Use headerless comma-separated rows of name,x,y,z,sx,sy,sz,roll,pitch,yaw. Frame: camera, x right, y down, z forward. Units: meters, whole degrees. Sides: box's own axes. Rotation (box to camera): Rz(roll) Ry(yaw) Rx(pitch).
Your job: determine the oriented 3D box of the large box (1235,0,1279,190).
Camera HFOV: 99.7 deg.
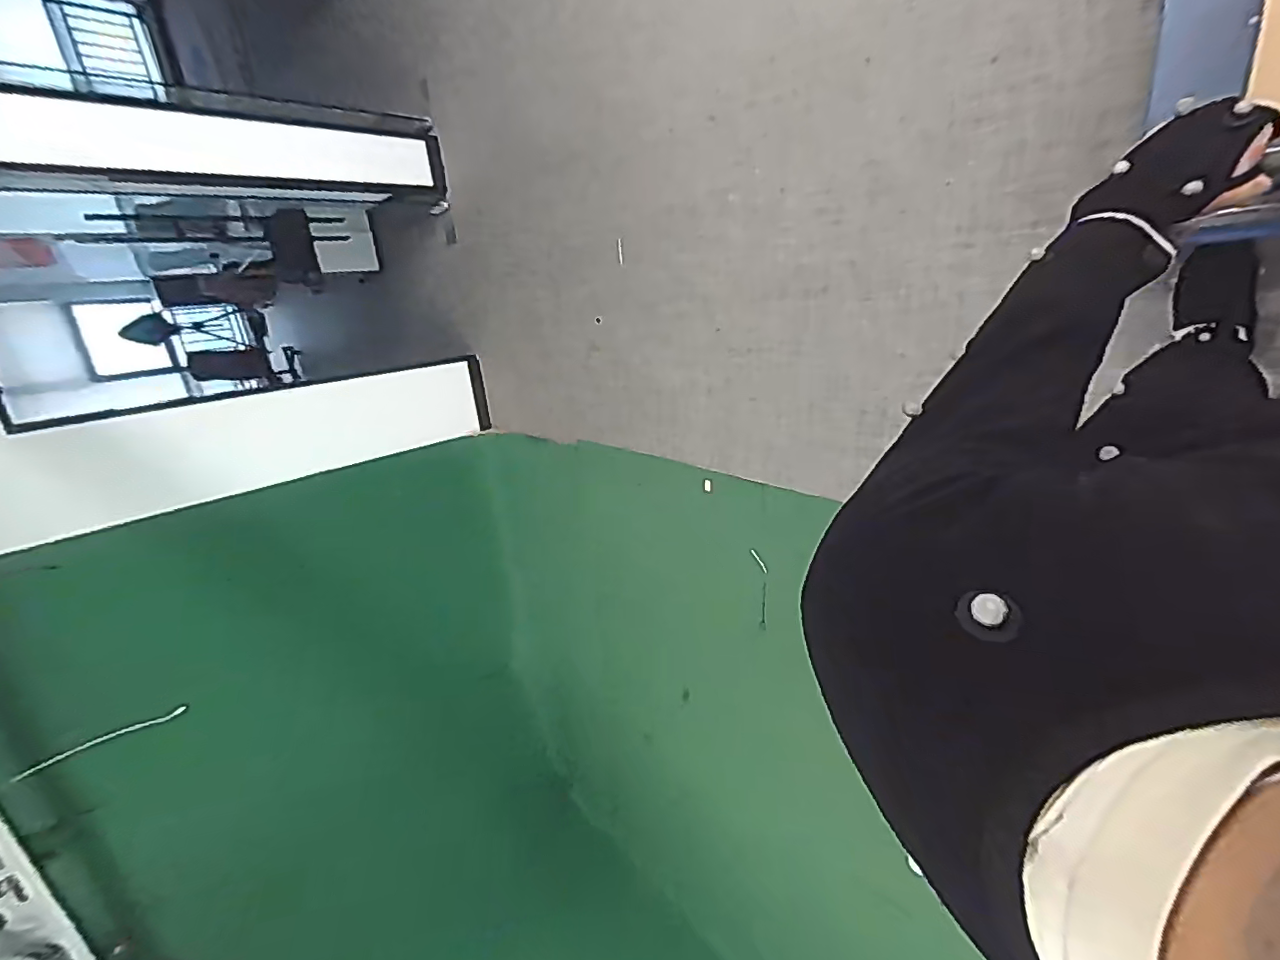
large box,0.993,-0.620,0.657,0.320,0.320,0.408,12,114,45
